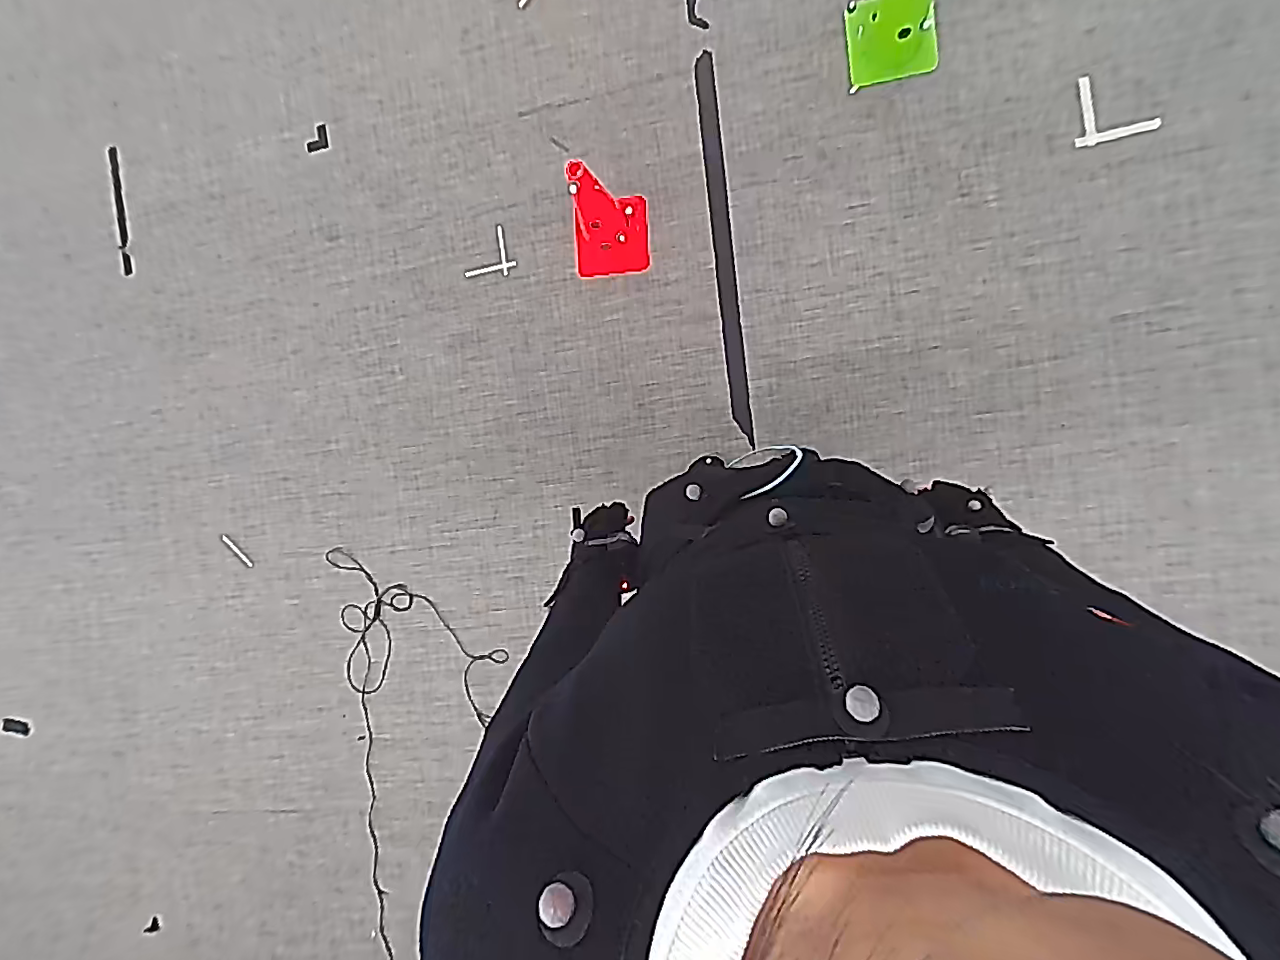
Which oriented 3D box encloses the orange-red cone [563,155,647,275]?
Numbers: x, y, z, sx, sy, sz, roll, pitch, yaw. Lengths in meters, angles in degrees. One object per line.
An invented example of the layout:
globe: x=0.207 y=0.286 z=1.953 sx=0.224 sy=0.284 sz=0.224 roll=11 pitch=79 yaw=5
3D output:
orange-red cone: x=-0.111 y=-0.647 z=1.272 sx=0.199 sy=0.360 sz=0.198 roll=-2 pitch=91 yaw=11

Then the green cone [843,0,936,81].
green cone: x=0.573 y=-1.065 z=1.130 sx=0.202 sy=0.368 sz=0.200 roll=-7 pitch=92 yaw=9
